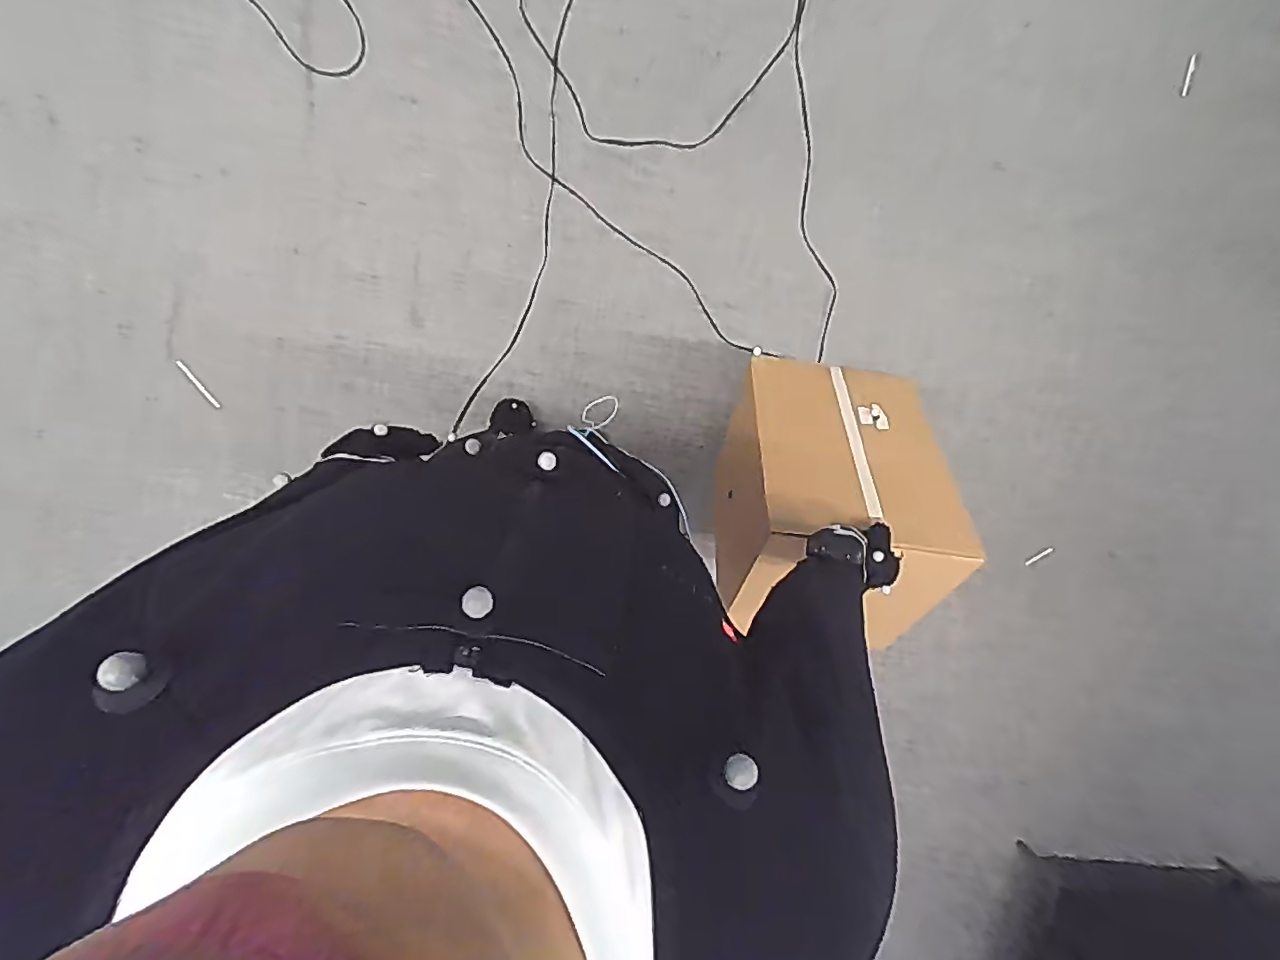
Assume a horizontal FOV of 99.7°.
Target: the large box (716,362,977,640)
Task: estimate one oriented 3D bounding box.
[{"bbox_3d":[0.328,0.041,1.006,0.320,0.408,0.320,8,139,-3],"label":"large box"}]
